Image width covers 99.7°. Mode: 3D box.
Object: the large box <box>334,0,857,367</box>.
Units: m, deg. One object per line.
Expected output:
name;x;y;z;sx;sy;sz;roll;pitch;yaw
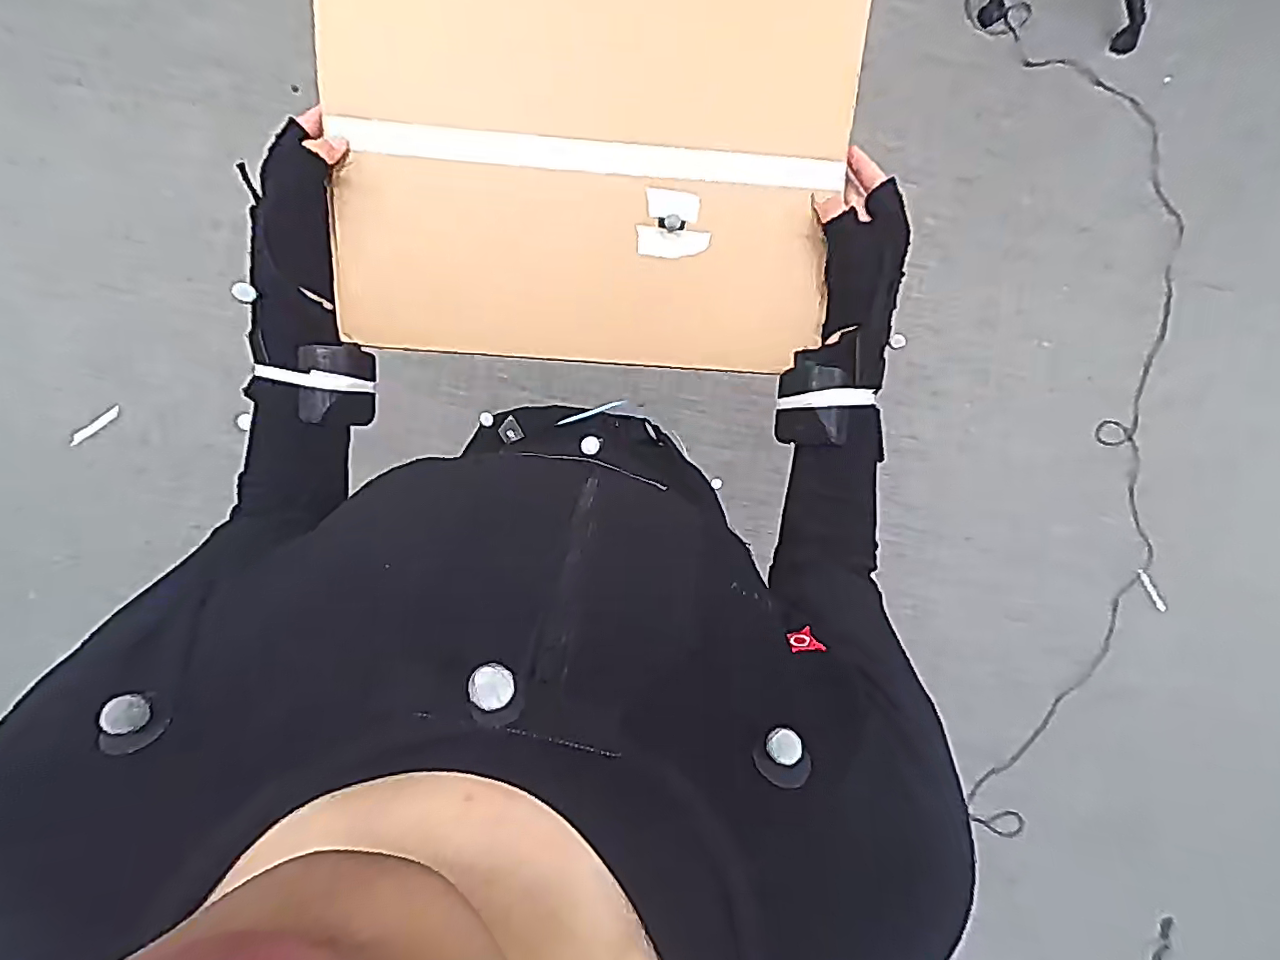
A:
large box;-0.046;-0.294;0.581;0.408;0.320;0.320;3;106;-4
